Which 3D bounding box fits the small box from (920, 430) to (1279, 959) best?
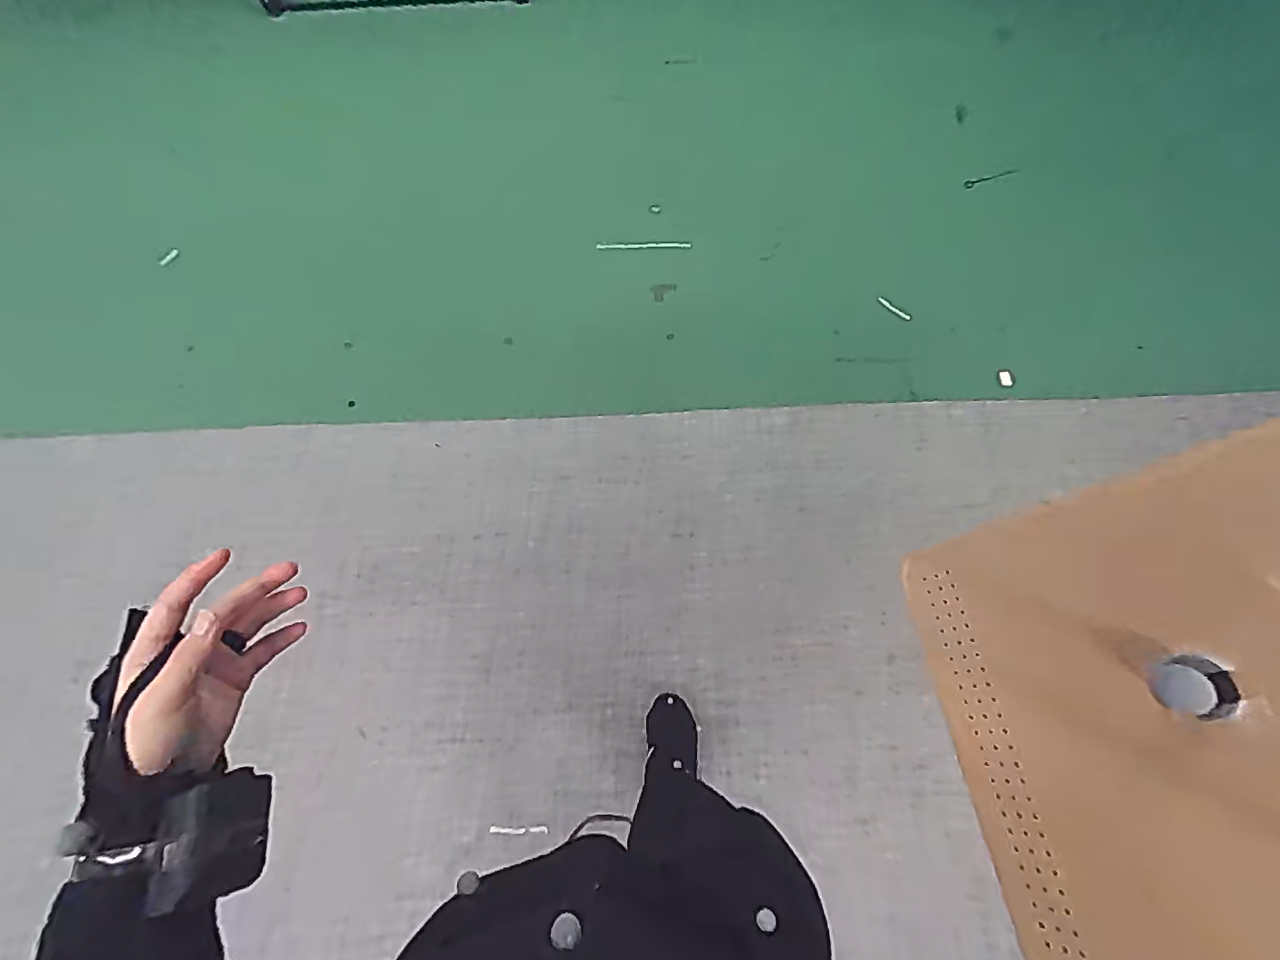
[{"bbox_3d":[0.258,0.094,0.226,0.168,0.176,0.179,2,64,-24],"label":"small box"}]
